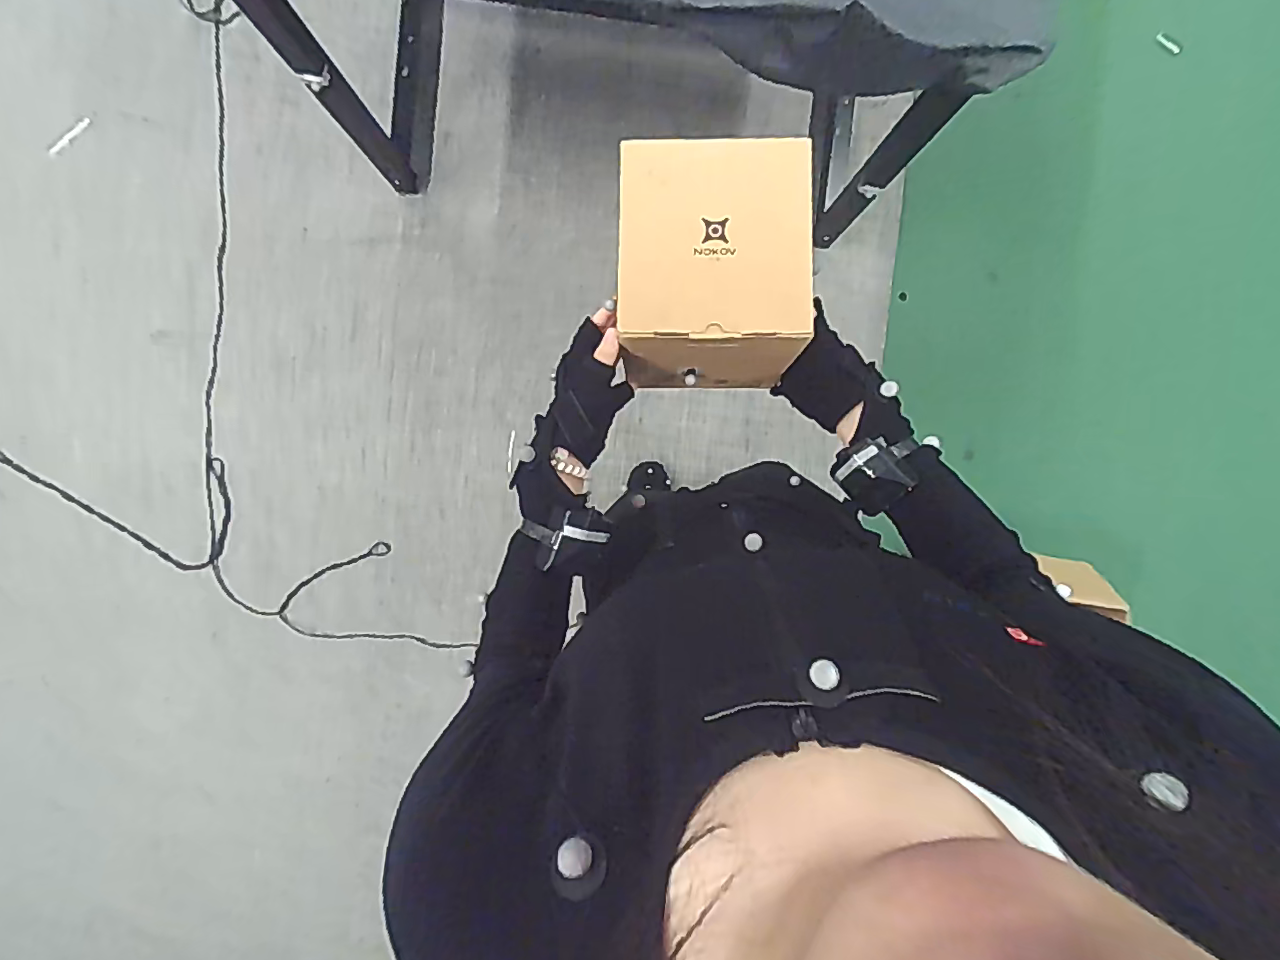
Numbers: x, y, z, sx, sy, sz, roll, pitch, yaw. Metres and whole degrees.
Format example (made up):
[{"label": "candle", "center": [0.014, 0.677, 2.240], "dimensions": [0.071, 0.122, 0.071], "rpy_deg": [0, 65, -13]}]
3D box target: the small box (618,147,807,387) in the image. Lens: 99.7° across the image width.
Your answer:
[{"label": "small box", "center": [0.065, -0.203, 0.553], "dimensions": [0.168, 0.176, 0.179], "rpy_deg": [0, 86, 2]}]
